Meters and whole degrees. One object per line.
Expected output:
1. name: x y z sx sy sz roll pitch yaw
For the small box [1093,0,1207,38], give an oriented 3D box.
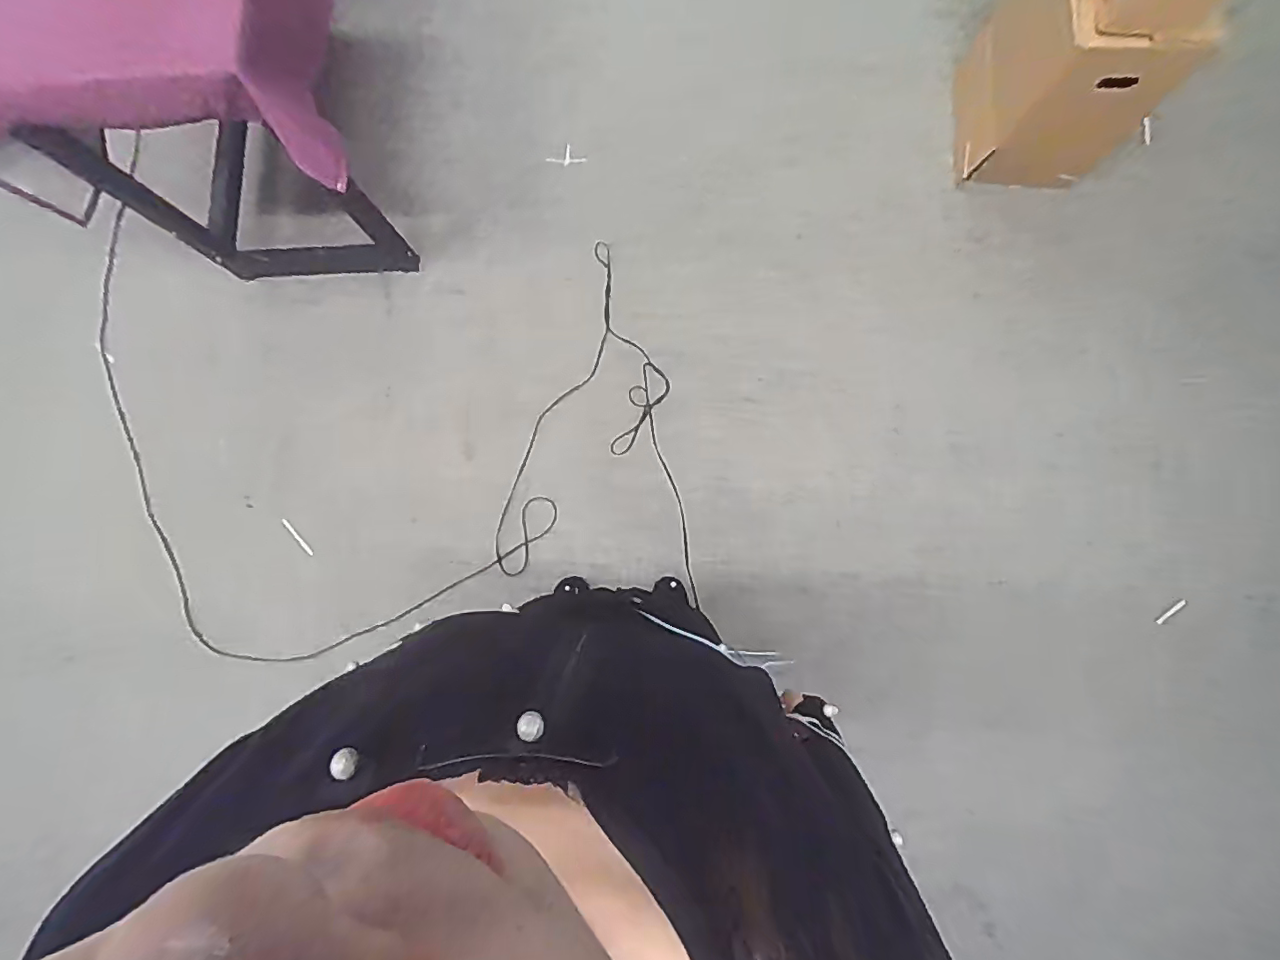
1. small box: 1.063 -1.042 1.093 0.179 0.176 0.168 6 81 3
